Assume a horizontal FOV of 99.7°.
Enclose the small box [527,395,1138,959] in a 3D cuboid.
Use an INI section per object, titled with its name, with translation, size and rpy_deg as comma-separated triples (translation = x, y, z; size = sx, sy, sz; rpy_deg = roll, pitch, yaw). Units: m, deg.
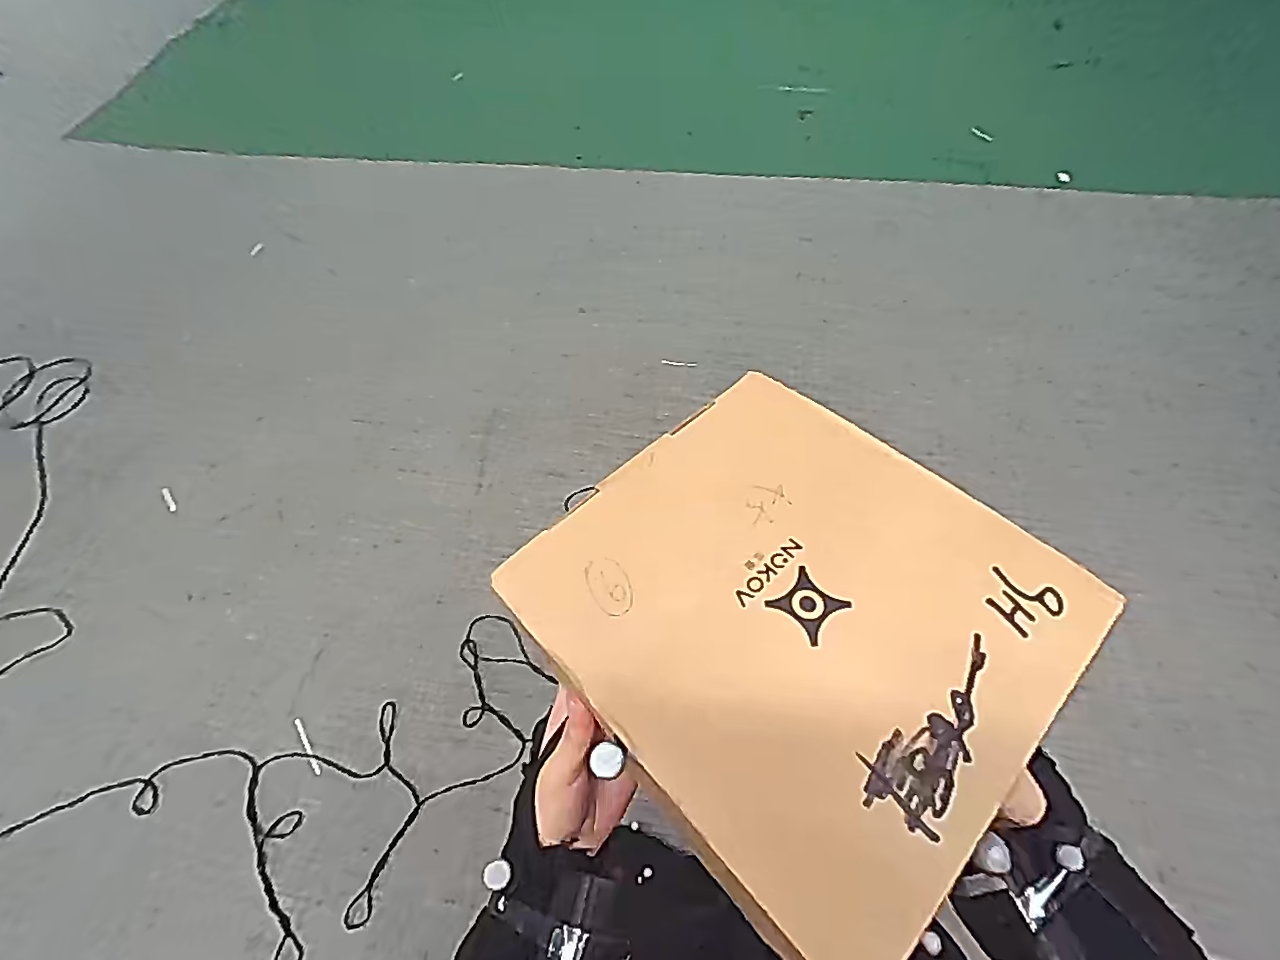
[small box]
translation = 0.073, 0.096, 0.275
size = 0.168, 0.176, 0.179
rpy_deg = -39, 60, -21
